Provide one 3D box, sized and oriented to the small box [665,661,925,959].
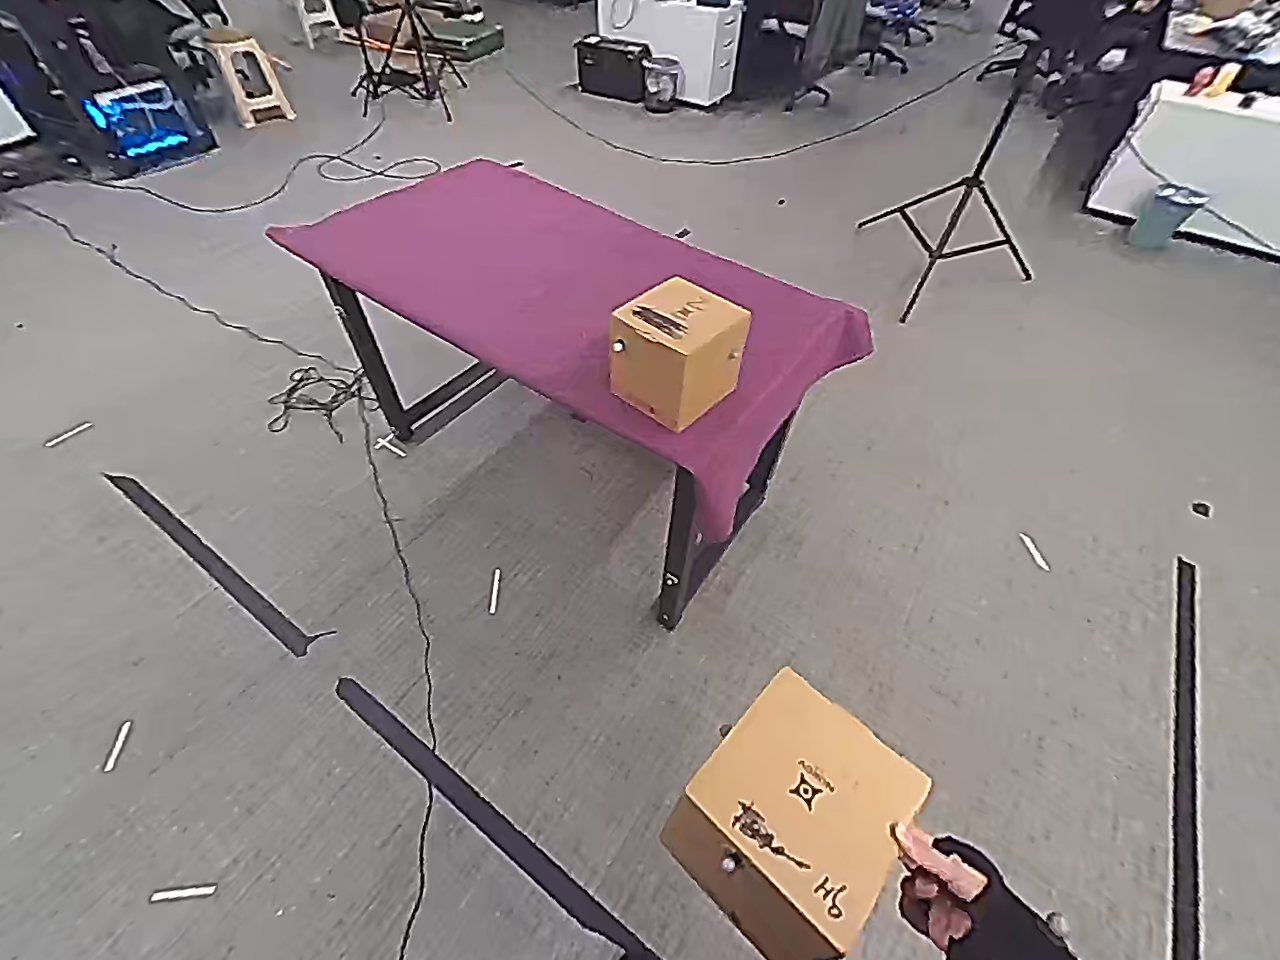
[{"bbox_3d":[0.143,0.329,0.548,0.168,0.176,0.179,37,50,25],"label":"small box"}]
